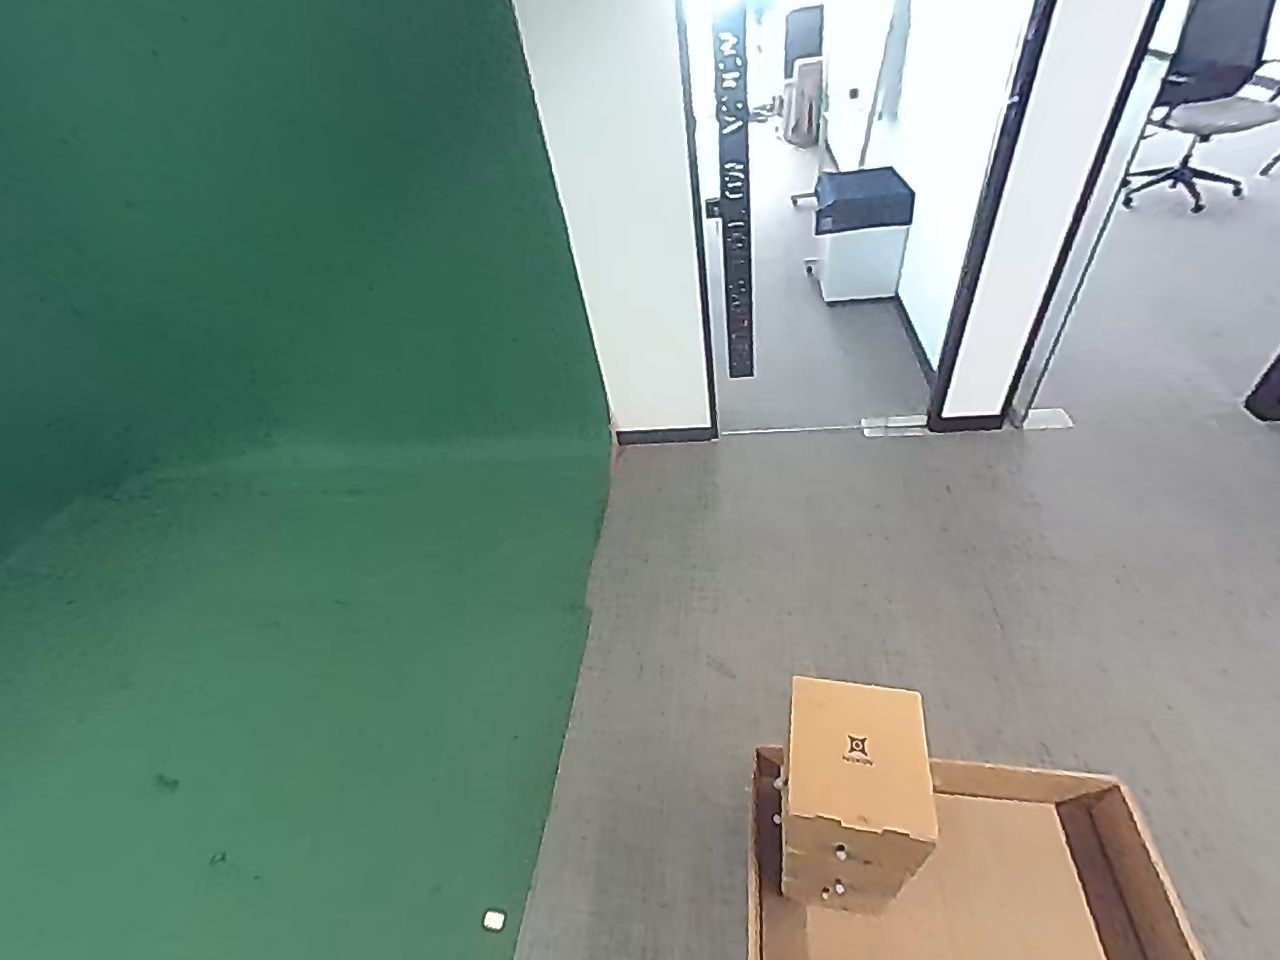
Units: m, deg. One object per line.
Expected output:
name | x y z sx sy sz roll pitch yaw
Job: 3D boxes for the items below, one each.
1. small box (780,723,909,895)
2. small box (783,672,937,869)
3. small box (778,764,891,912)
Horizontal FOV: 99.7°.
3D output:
small box | 0.307 0.510 0.844 0.168 0.176 0.179 1 44 16
small box | 0.285 0.392 0.735 0.168 0.176 0.179 3 45 16
small box | 0.331 0.628 0.956 0.168 0.176 0.179 1 44 13
